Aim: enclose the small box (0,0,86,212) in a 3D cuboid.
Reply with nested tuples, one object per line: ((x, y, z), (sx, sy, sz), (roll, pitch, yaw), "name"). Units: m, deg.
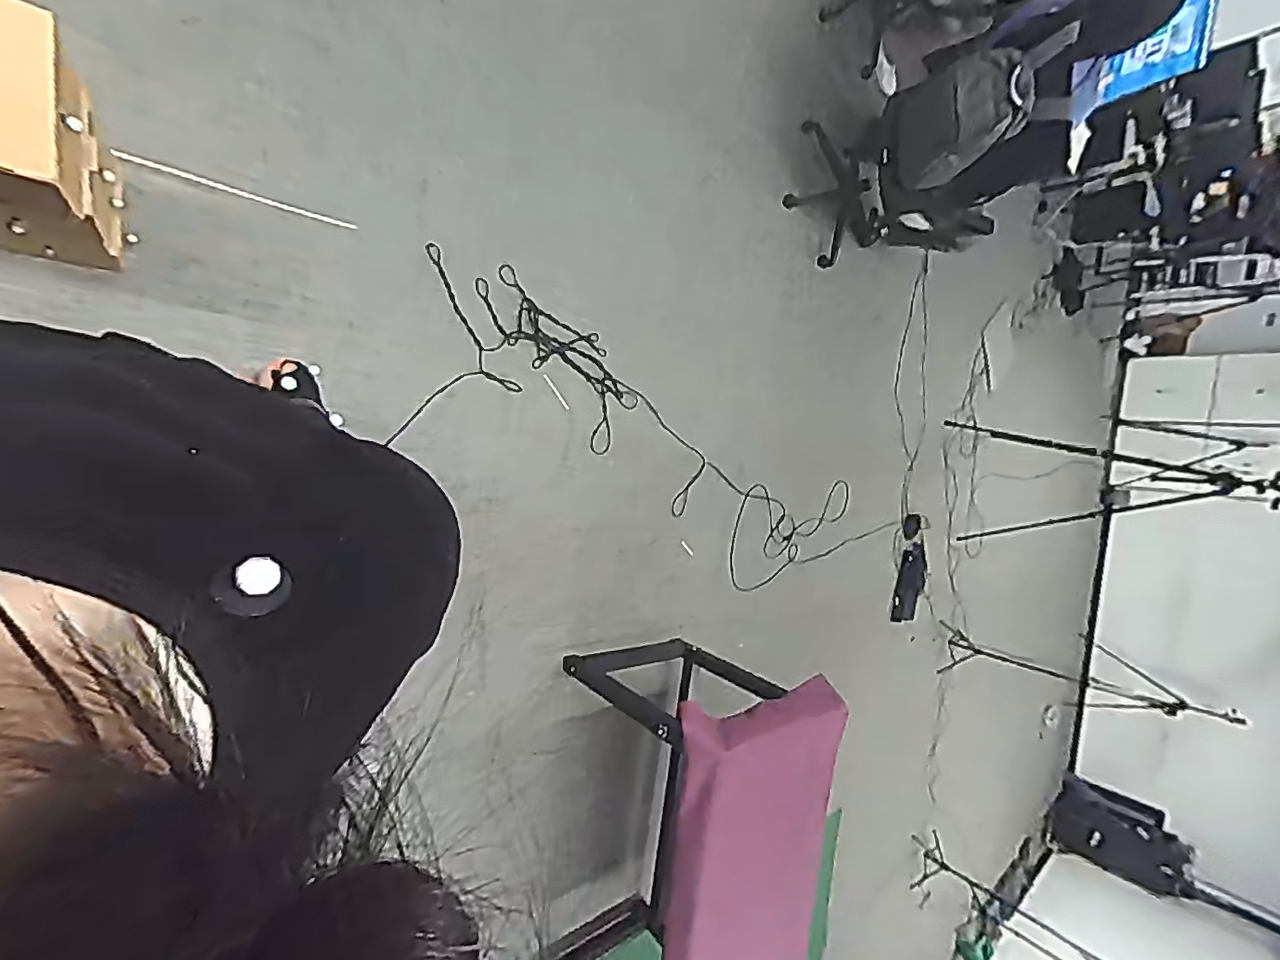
((-0.735, -0.423, 0.589), (0.168, 0.176, 0.179), (0, 98, -39), "small box")

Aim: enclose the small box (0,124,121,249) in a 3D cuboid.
((-0.940, -0.477, 0.839), (0.179, 0.176, 0.168), (3, 96, -40), "small box")

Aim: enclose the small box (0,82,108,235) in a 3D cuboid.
((-0.834, -0.444, 0.717), (0.179, 0.176, 0.168), (0, 96, -40), "small box")

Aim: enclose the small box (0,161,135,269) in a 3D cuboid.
((-1.037, -0.494, 0.970), (0.179, 0.176, 0.168), (3, 95, -40), "small box")
